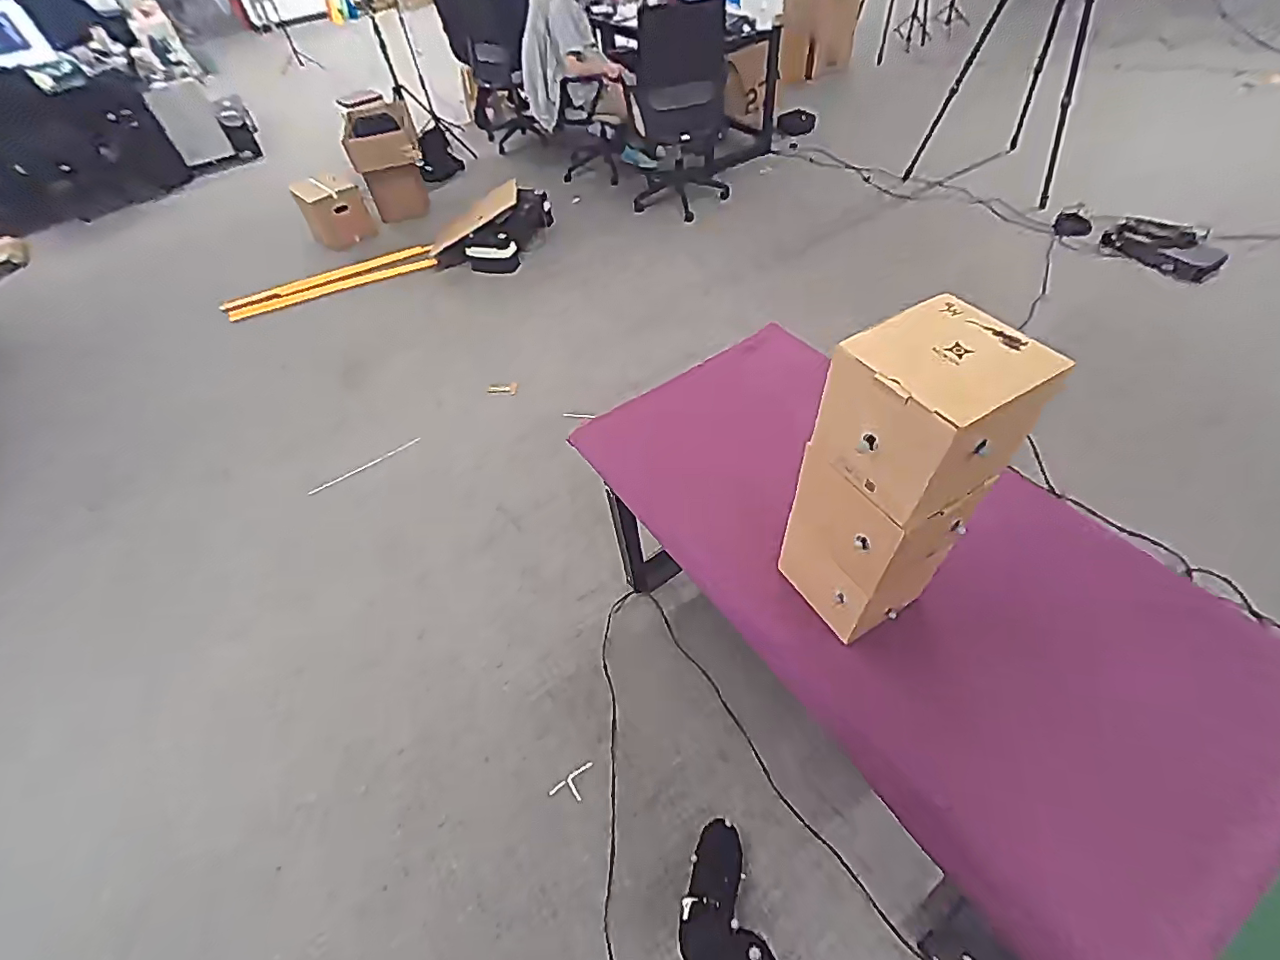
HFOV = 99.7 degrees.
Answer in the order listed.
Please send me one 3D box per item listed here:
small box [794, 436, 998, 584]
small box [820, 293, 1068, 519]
[{"bbox_3d":[0.342,0.023,0.761,0.168,0.176,0.179,-26,53,-15],"label":"small box"},{"bbox_3d":[0.334,-0.084,0.638,0.179,0.176,0.168,-27,53,-15],"label":"small box"}]
